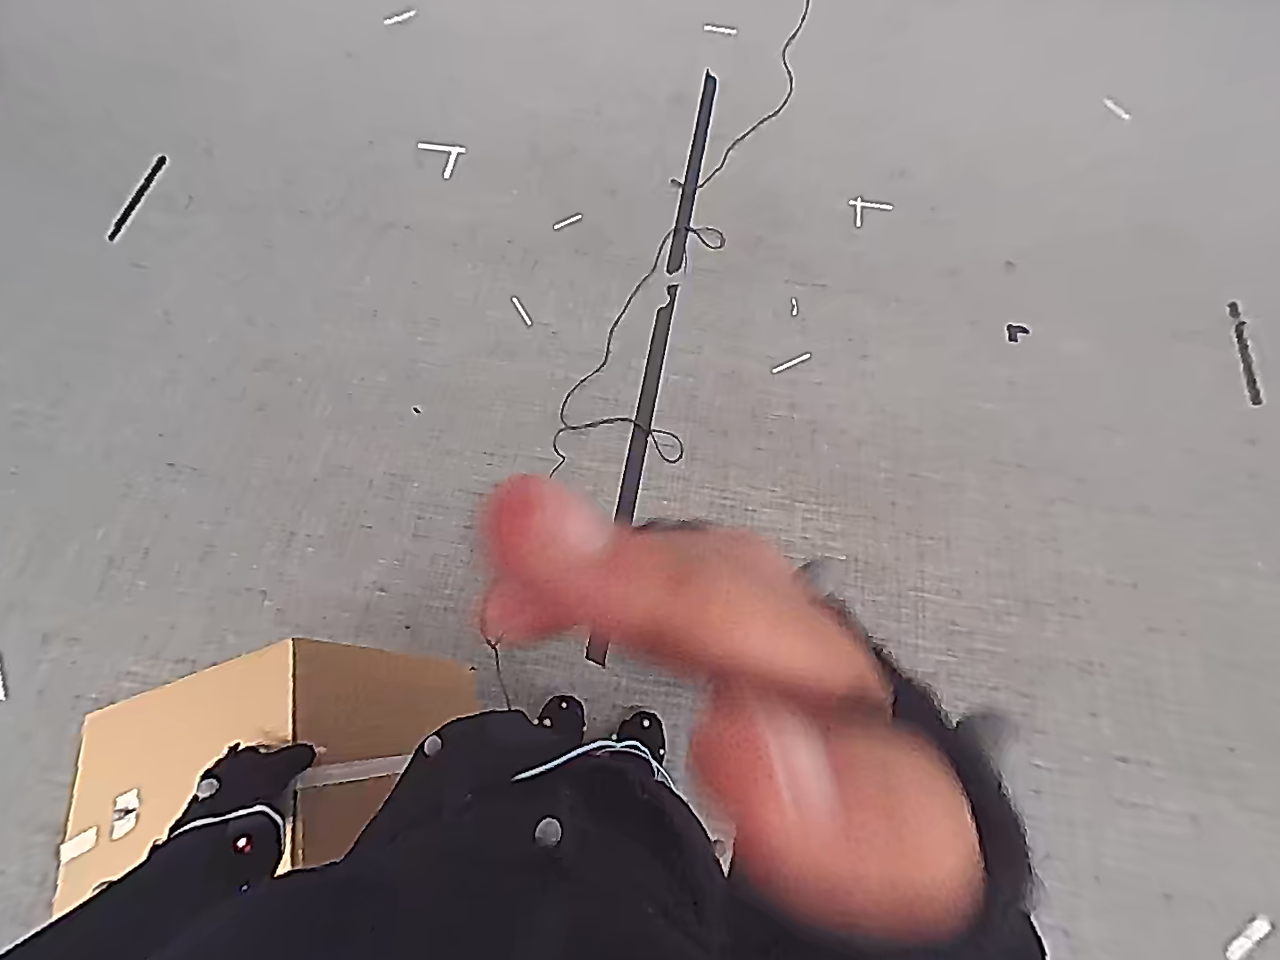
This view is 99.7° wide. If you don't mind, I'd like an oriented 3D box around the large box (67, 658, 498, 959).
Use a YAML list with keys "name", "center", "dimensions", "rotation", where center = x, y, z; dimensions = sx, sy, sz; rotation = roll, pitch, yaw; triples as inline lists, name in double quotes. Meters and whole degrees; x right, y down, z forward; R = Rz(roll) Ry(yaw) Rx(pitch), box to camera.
- name: "large box"
  center: [-0.460, 0.472, 0.778]
  dimensions: [0.320, 0.408, 0.320]
  rotation: [-21, 64, 6]
